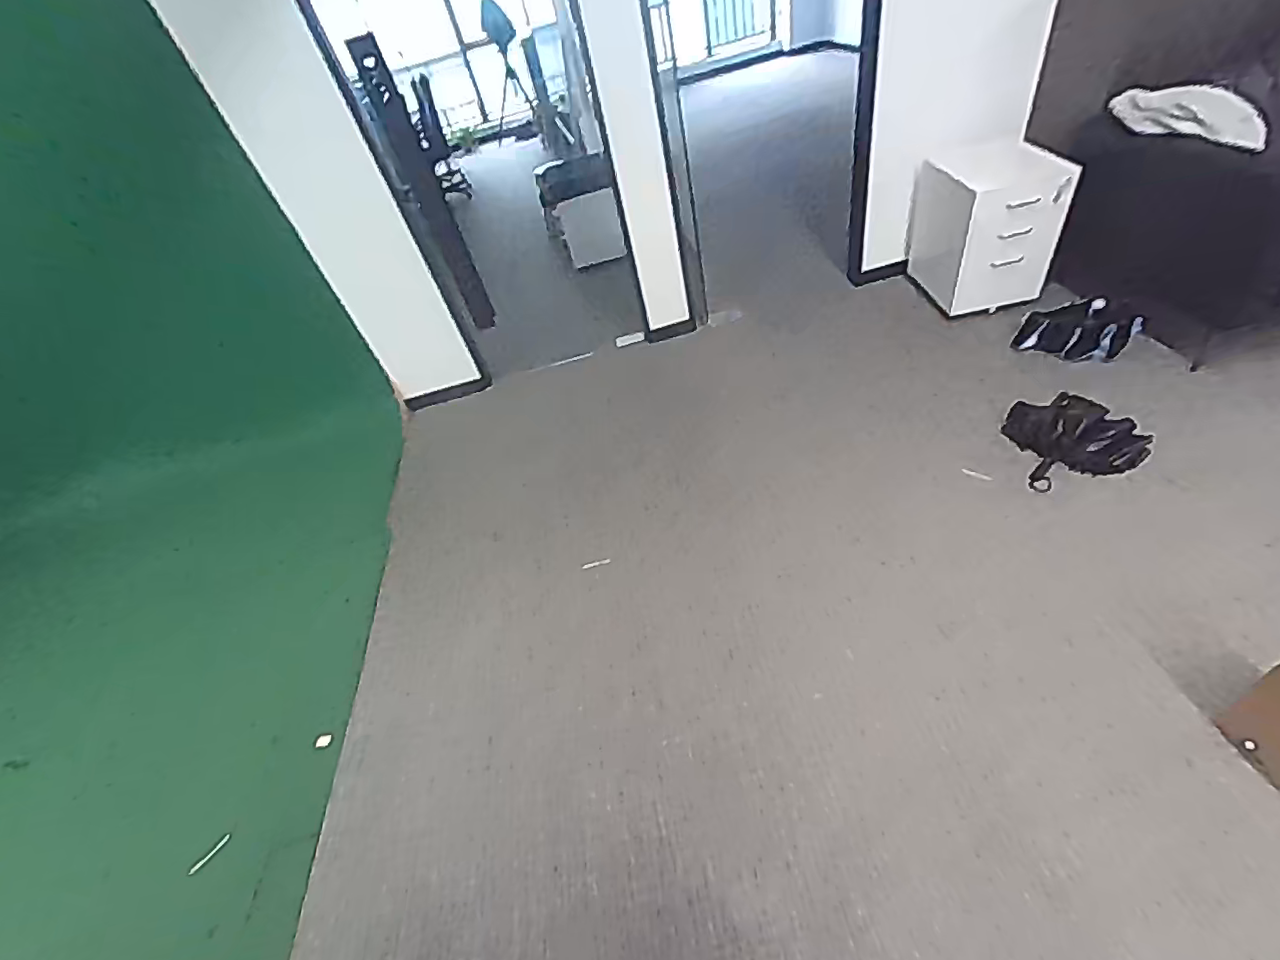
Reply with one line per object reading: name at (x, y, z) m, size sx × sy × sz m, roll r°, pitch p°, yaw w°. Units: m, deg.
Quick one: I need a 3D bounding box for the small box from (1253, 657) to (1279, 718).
small box at (1.399, 0.430, 1.070) m, size 0.179 × 0.176 × 0.168 m, roll -14°, pitch 46°, yaw 1°

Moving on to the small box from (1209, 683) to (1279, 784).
small box at (1.436, 0.539, 1.184) m, size 0.179 × 0.176 × 0.168 m, roll -16°, pitch 45°, yaw 2°
